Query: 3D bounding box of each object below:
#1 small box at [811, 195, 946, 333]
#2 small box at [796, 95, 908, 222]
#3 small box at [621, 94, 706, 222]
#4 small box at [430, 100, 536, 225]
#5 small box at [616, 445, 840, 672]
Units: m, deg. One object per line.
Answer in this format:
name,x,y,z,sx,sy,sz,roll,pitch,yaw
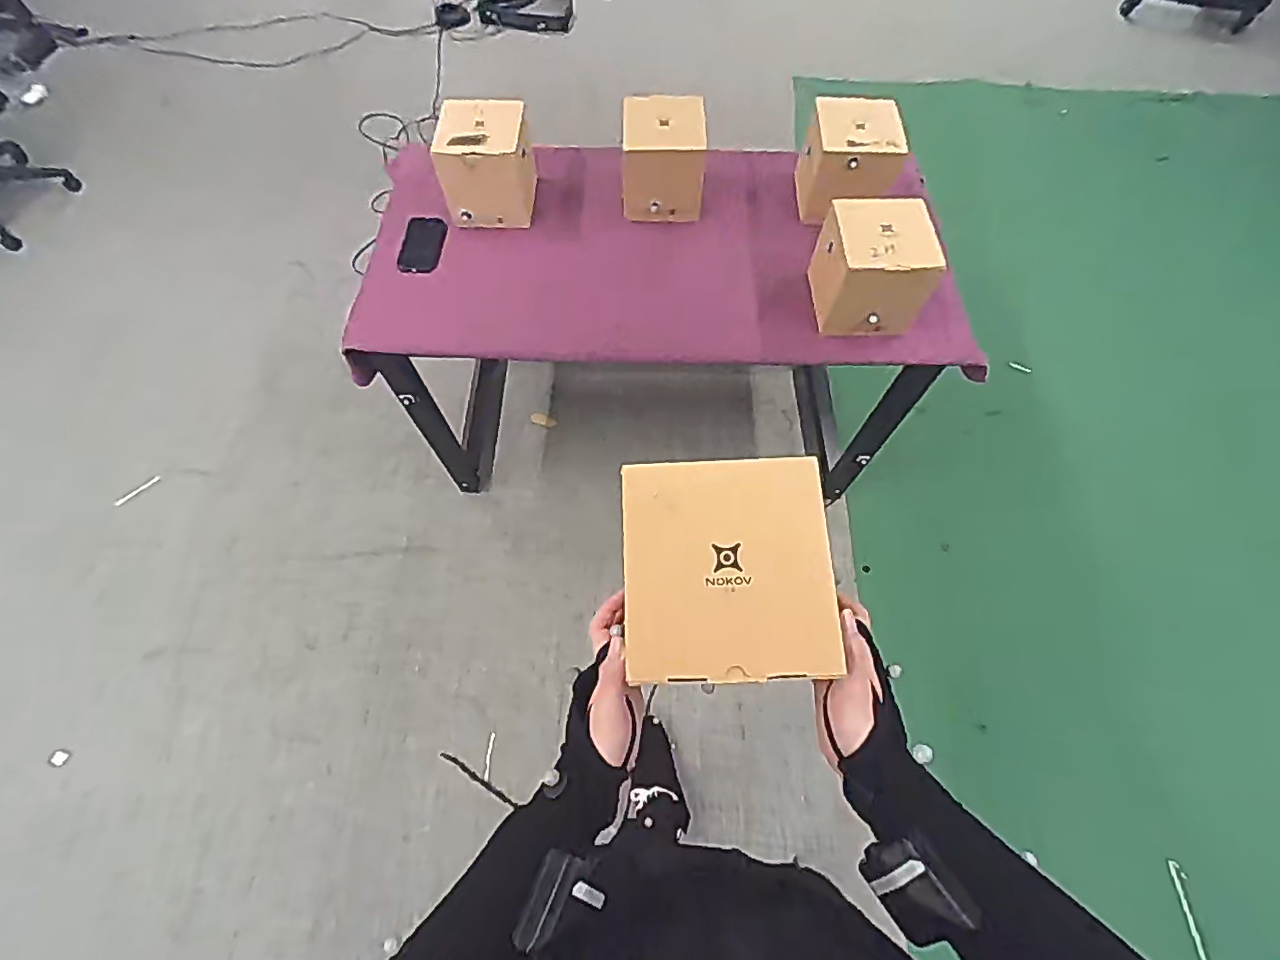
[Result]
small box,0.426,-0.396,1.001,0.168,0.176,0.179,0,64,2
small box,0.435,-0.673,1.141,0.168,0.176,0.179,2,64,2
small box,0.047,-0.680,1.147,0.168,0.176,0.179,0,65,1
small box,-0.319,-0.661,1.136,0.168,0.176,0.179,1,63,0
small box,0.065,0.081,0.496,0.168,0.176,0.179,-3,73,2
